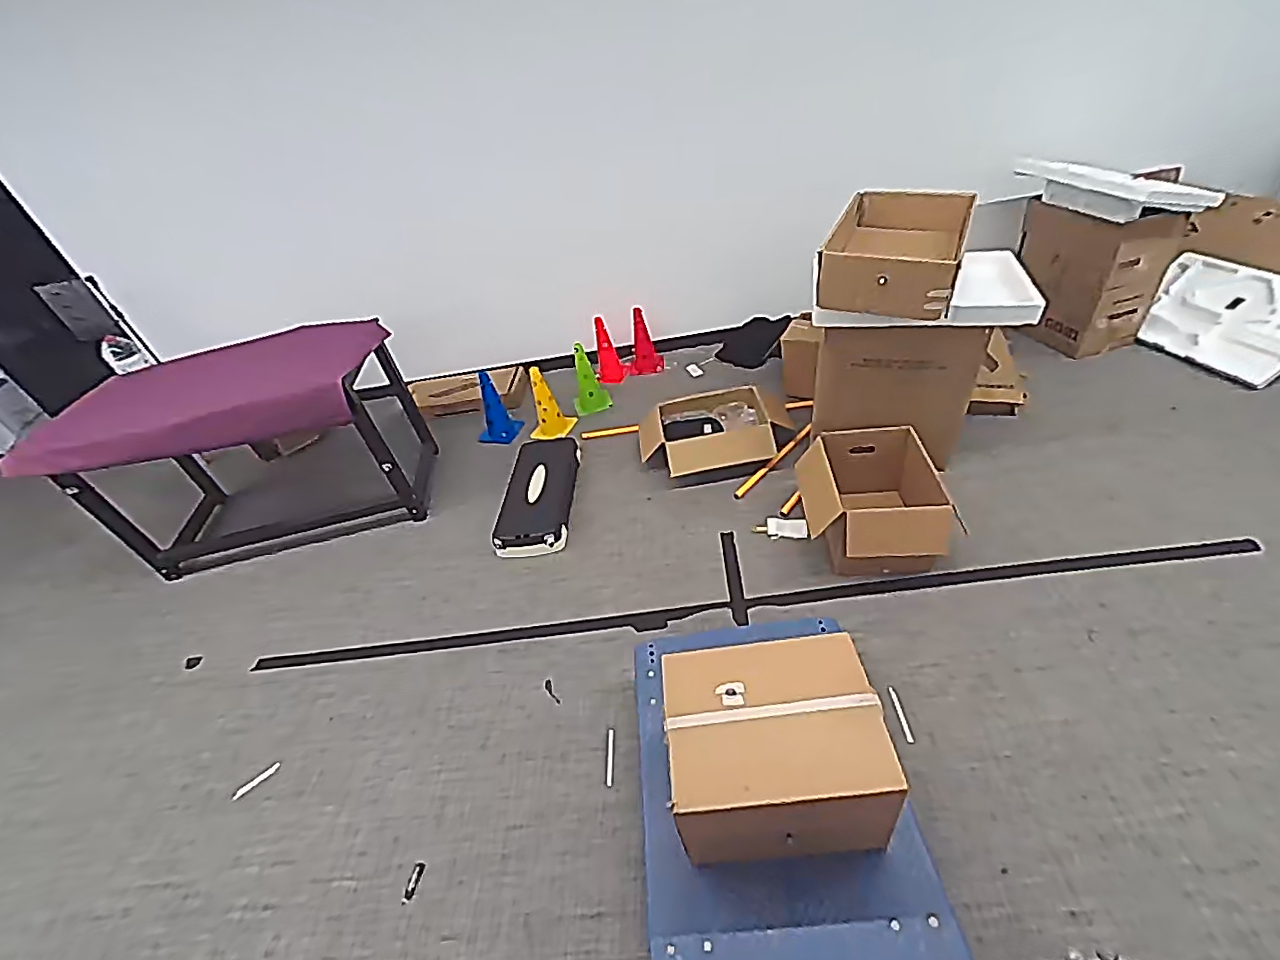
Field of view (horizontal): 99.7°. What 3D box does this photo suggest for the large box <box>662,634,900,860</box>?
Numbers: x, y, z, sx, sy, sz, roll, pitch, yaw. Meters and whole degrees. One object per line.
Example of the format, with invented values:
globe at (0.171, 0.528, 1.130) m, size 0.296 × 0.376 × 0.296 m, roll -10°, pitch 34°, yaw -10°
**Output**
large box at (0.278, 0.574, 1.156) m, size 0.408 × 0.320 × 0.320 m, roll -10°, pitch 39°, yaw 5°
